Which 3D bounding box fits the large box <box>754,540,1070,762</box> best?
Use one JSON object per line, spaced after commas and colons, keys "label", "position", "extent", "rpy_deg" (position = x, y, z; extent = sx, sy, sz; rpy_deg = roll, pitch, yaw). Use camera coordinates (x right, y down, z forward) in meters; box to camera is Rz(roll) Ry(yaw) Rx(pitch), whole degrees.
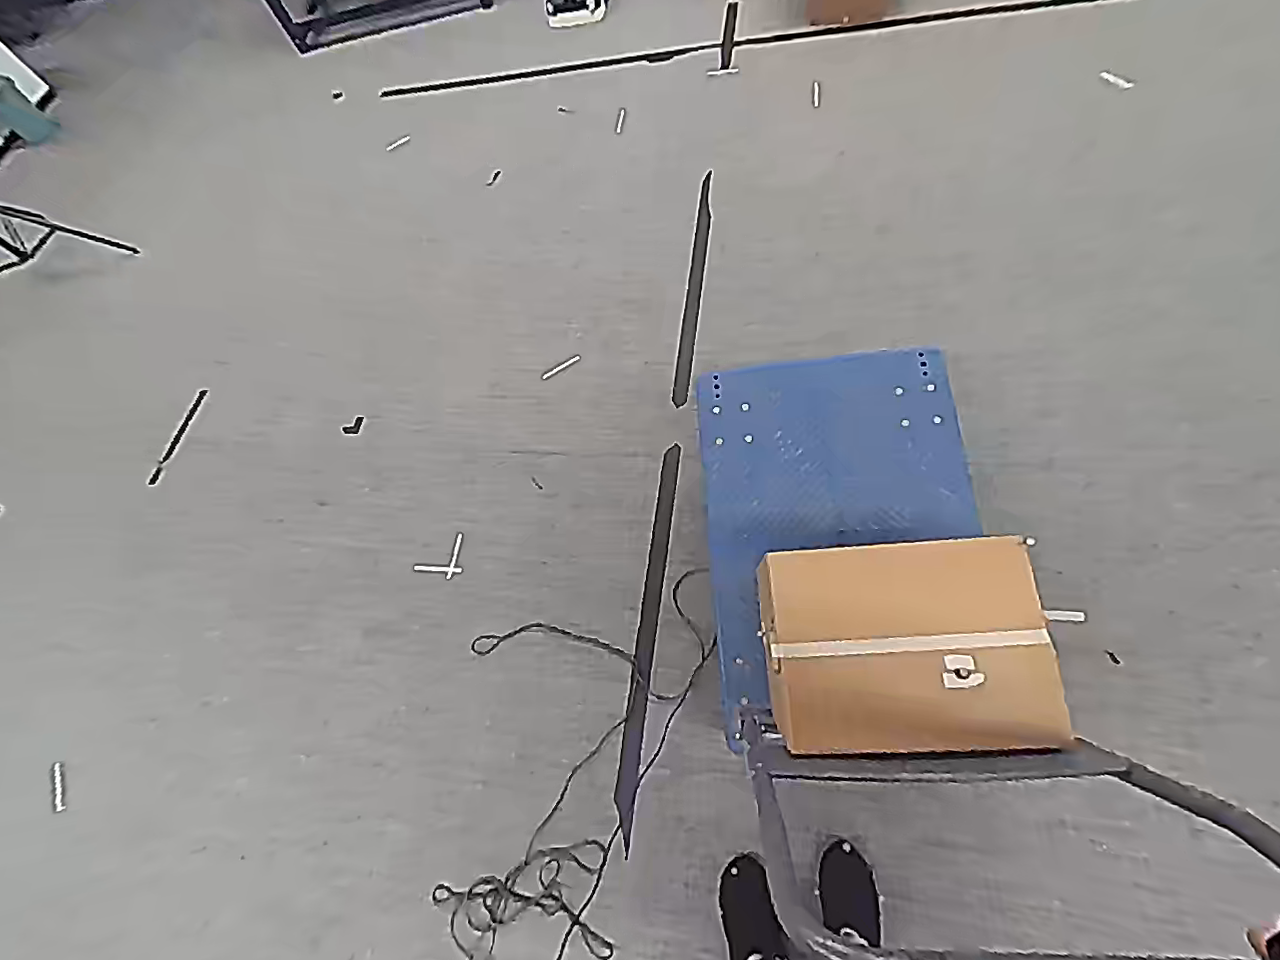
{"label": "large box", "position": [0.435, 0.301, 0.982], "extent": [0.408, 0.320, 0.320], "rpy_deg": [-5, 75, 7]}
